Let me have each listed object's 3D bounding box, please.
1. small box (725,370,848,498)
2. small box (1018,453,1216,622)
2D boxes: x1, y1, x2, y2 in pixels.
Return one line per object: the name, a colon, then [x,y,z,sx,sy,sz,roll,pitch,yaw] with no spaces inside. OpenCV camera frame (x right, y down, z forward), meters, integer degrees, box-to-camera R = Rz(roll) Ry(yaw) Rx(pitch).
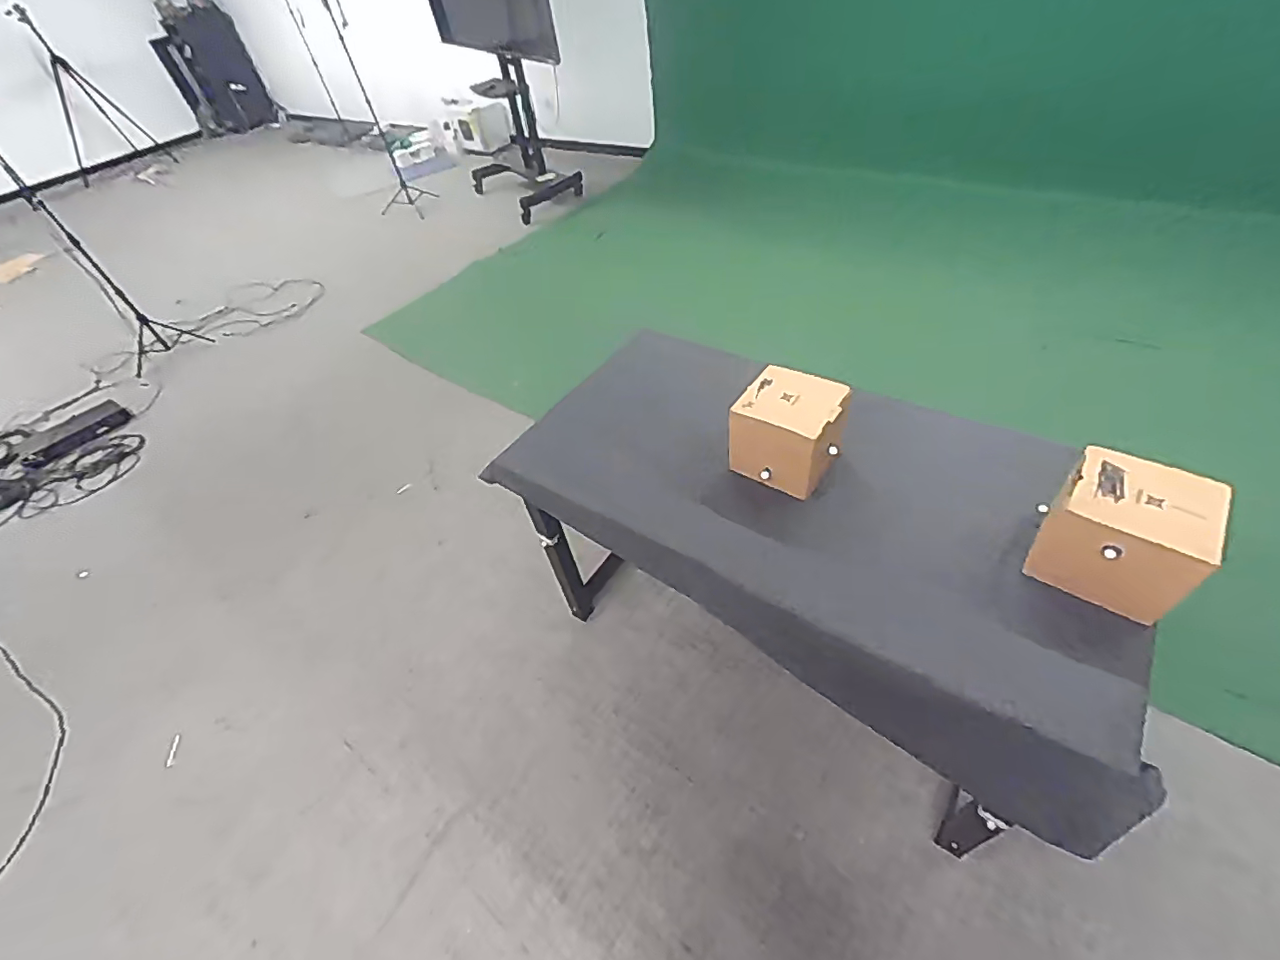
small box: [0.287,-0.088,1.084,0.179,0.176,0.168,26,54,27]
small box: [0.740,0.092,0.855,0.179,0.176,0.168,27,55,28]
